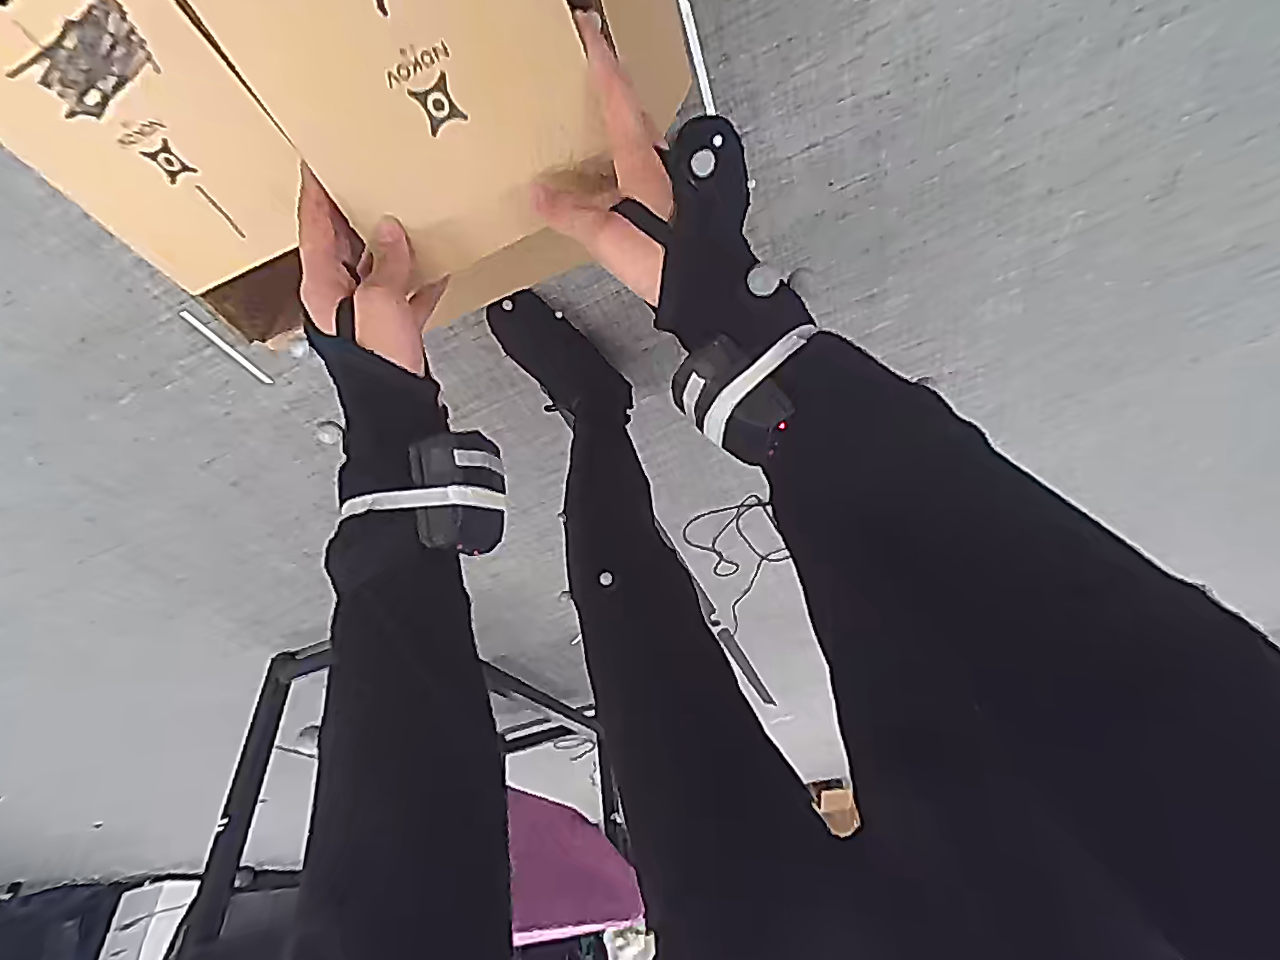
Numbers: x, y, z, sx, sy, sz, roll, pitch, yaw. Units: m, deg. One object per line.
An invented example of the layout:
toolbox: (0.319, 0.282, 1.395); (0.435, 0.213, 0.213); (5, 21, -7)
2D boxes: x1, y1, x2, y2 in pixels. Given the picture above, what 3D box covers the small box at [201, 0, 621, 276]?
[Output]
small box: (-0.124, -0.269, 0.344); (0.168, 0.176, 0.179); (-21, 132, 7)
